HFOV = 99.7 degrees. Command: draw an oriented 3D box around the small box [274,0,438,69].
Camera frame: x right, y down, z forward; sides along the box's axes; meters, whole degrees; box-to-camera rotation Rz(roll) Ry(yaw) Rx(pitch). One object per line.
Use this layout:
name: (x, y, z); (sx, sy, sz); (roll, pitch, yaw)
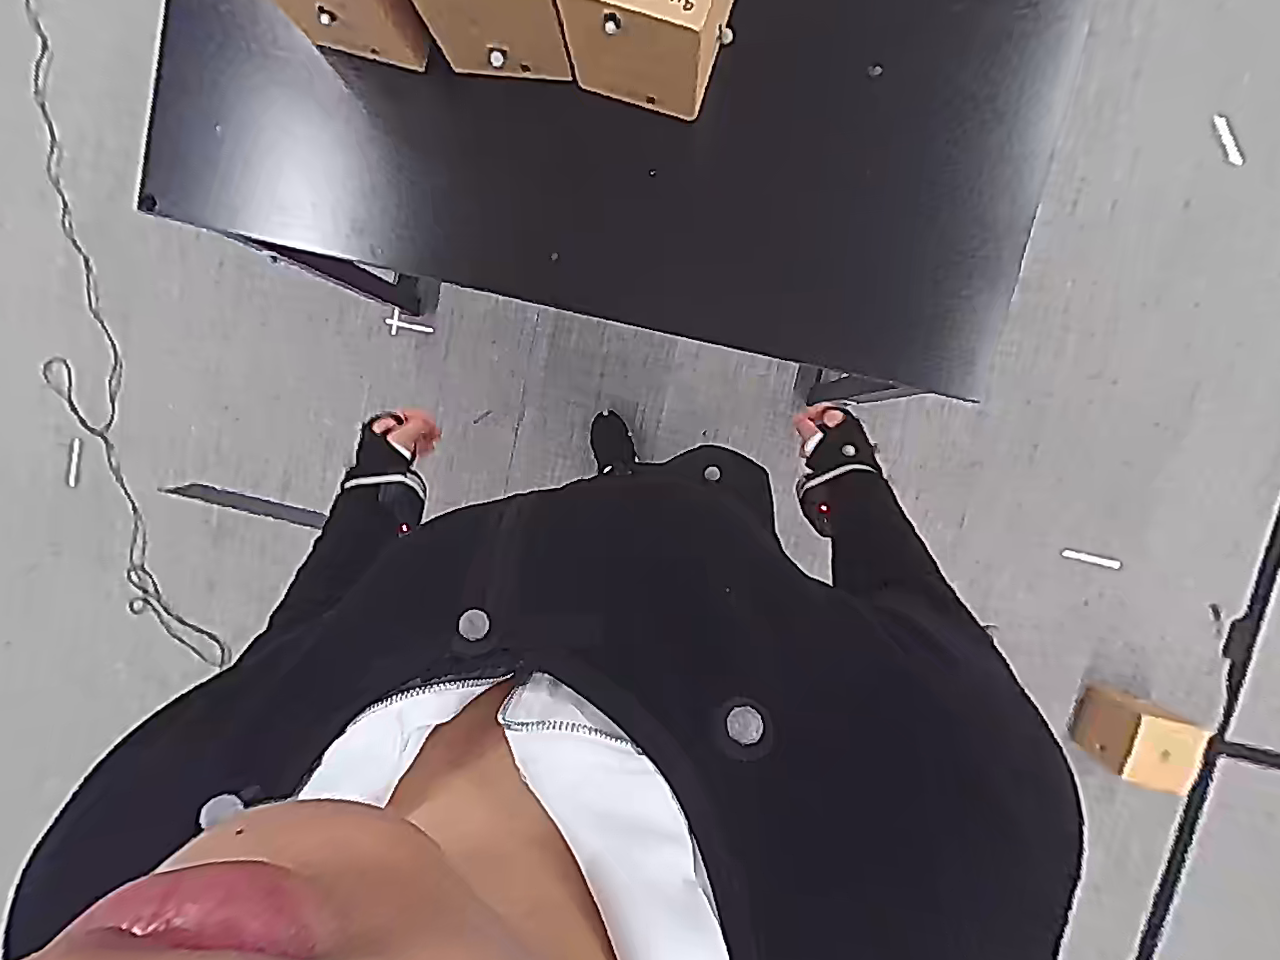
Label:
small box: (-0.354, -0.646, 0.648); (0.168, 0.176, 0.179); (15, 95, 1)

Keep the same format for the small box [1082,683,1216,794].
small box: (1.290, 0.655, 1.387); (0.168, 0.176, 0.179); (12, 95, 2)
